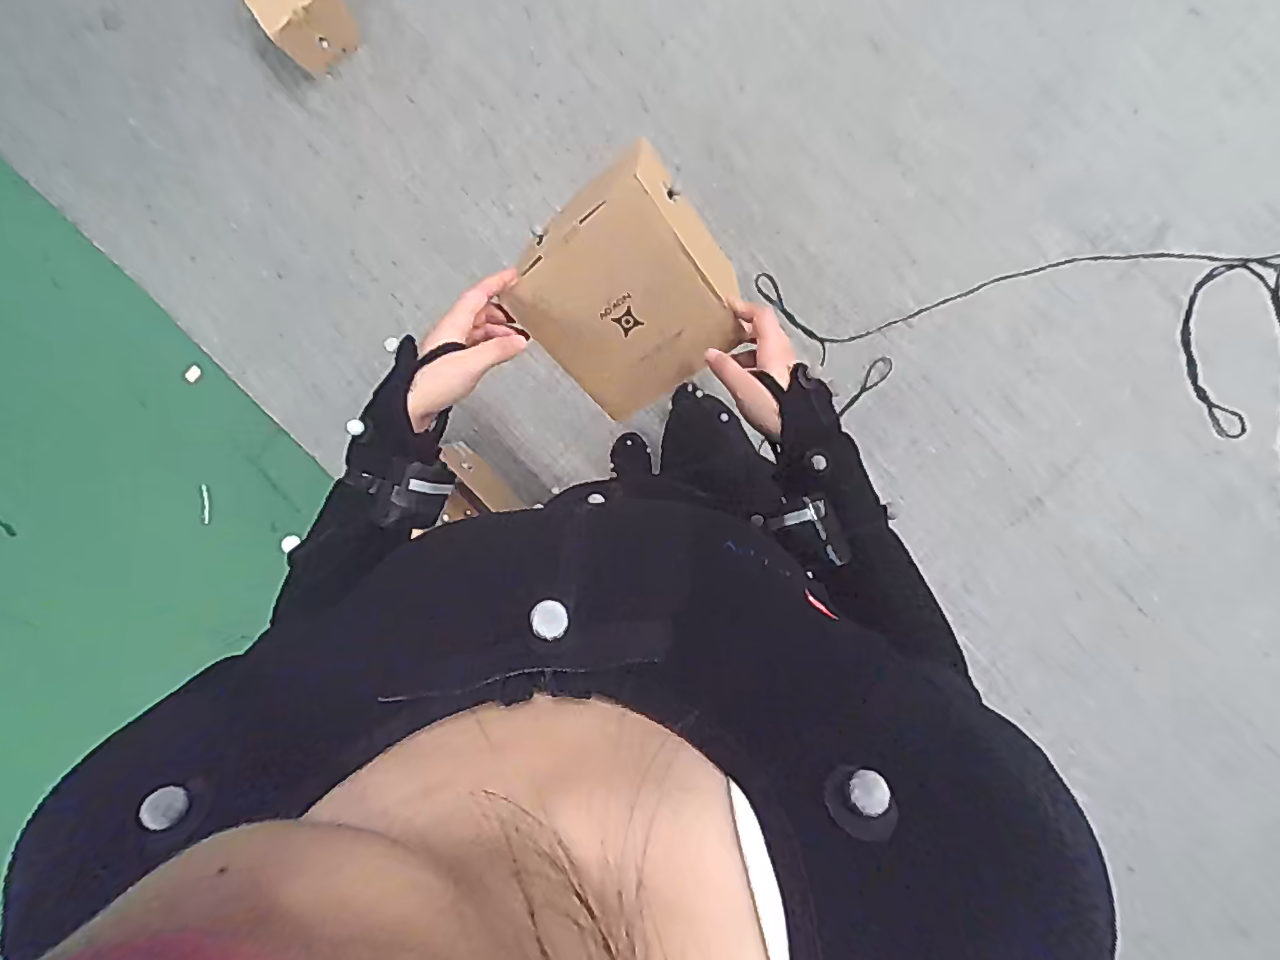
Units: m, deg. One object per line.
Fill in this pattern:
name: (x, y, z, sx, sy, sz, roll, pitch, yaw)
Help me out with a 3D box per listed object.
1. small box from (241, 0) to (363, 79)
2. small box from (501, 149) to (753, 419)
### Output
small box: (-0.801, -1.099, 1.277, 0.168, 0.176, 0.179, -32, 96, 8)
small box: (-0.007, -0.203, 0.551, 0.168, 0.176, 0.179, -30, 124, 26)
